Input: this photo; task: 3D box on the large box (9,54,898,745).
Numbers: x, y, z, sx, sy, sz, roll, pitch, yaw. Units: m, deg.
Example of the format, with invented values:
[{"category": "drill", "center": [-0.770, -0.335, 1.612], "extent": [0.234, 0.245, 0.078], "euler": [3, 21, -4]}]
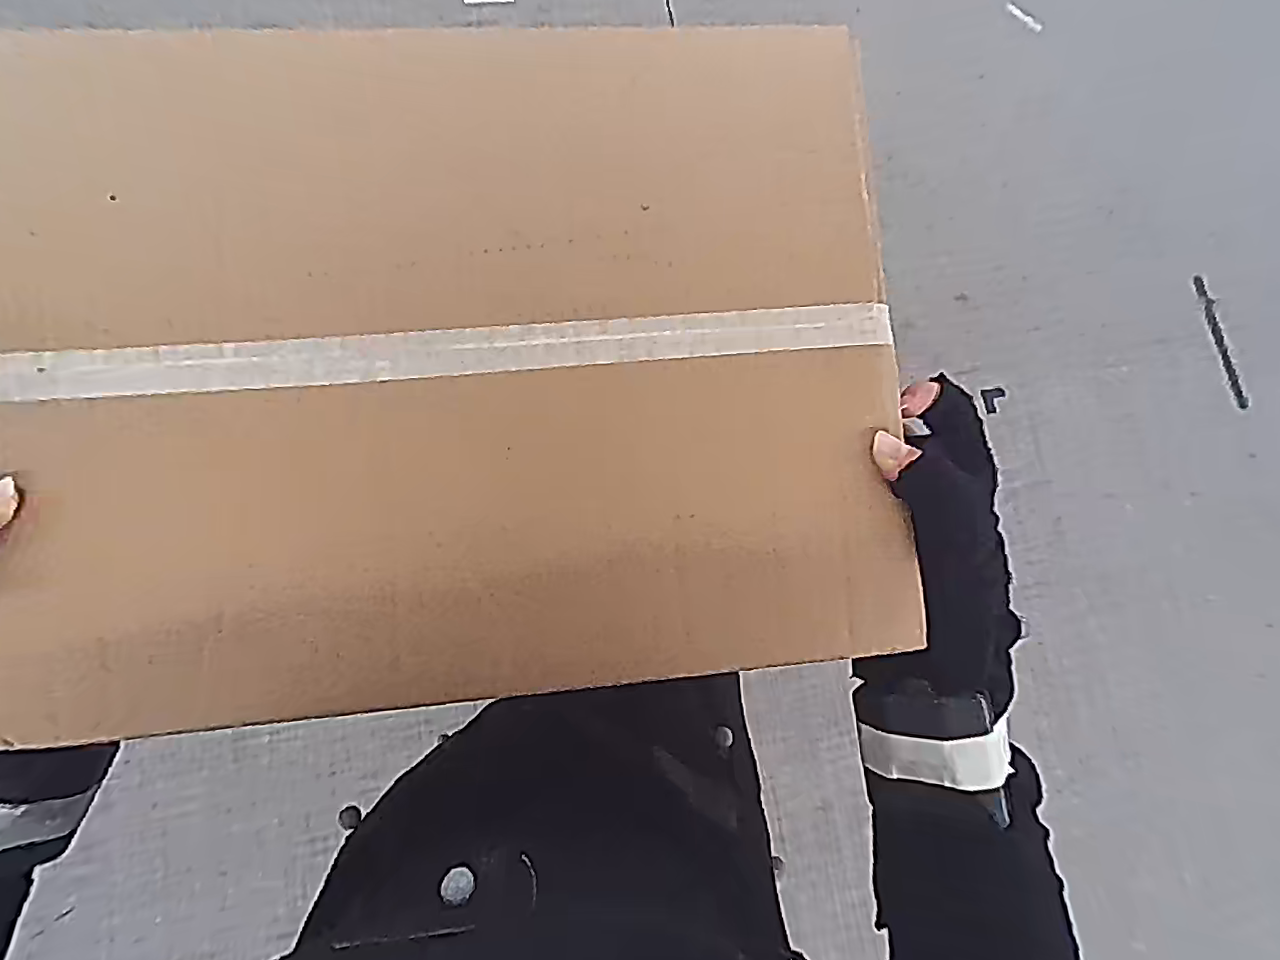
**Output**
[{"category": "large box", "center": [-0.091, -0.045, 0.407], "extent": [0.408, 0.320, 0.320], "euler": [-4, 86, -5]}]
